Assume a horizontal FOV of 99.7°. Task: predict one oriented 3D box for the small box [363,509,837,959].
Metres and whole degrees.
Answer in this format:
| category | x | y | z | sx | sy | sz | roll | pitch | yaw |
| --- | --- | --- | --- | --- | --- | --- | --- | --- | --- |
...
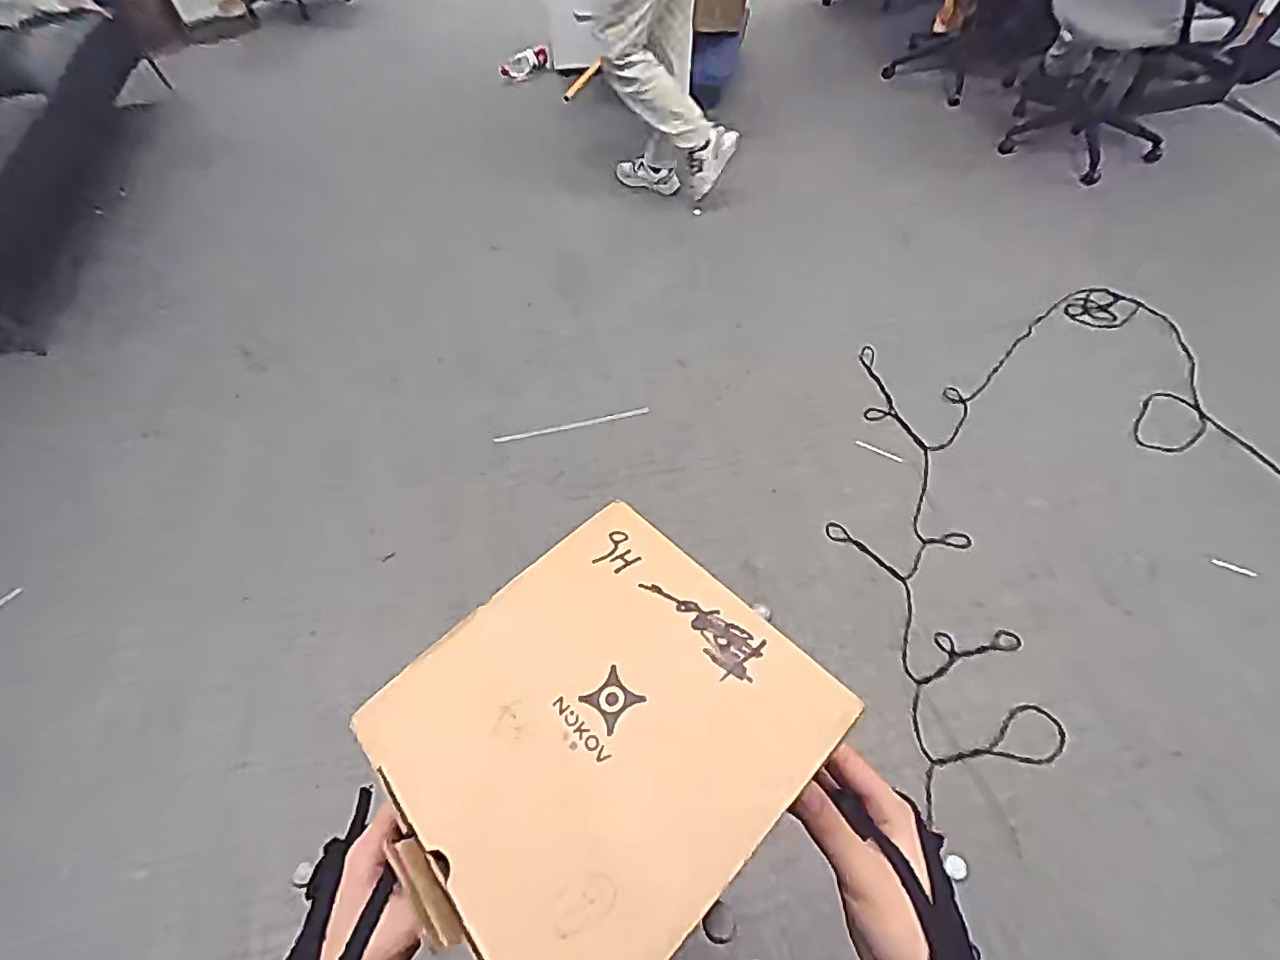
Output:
| category | x | y | z | sx | sy | sz | roll | pitch | yaw |
| --- | --- | --- | --- | --- | --- | --- | --- | --- | --- |
| small box | -0.013 | 0.158 | 0.321 | 0.179 | 0.176 | 0.168 | -40 | 58 | -21 |
